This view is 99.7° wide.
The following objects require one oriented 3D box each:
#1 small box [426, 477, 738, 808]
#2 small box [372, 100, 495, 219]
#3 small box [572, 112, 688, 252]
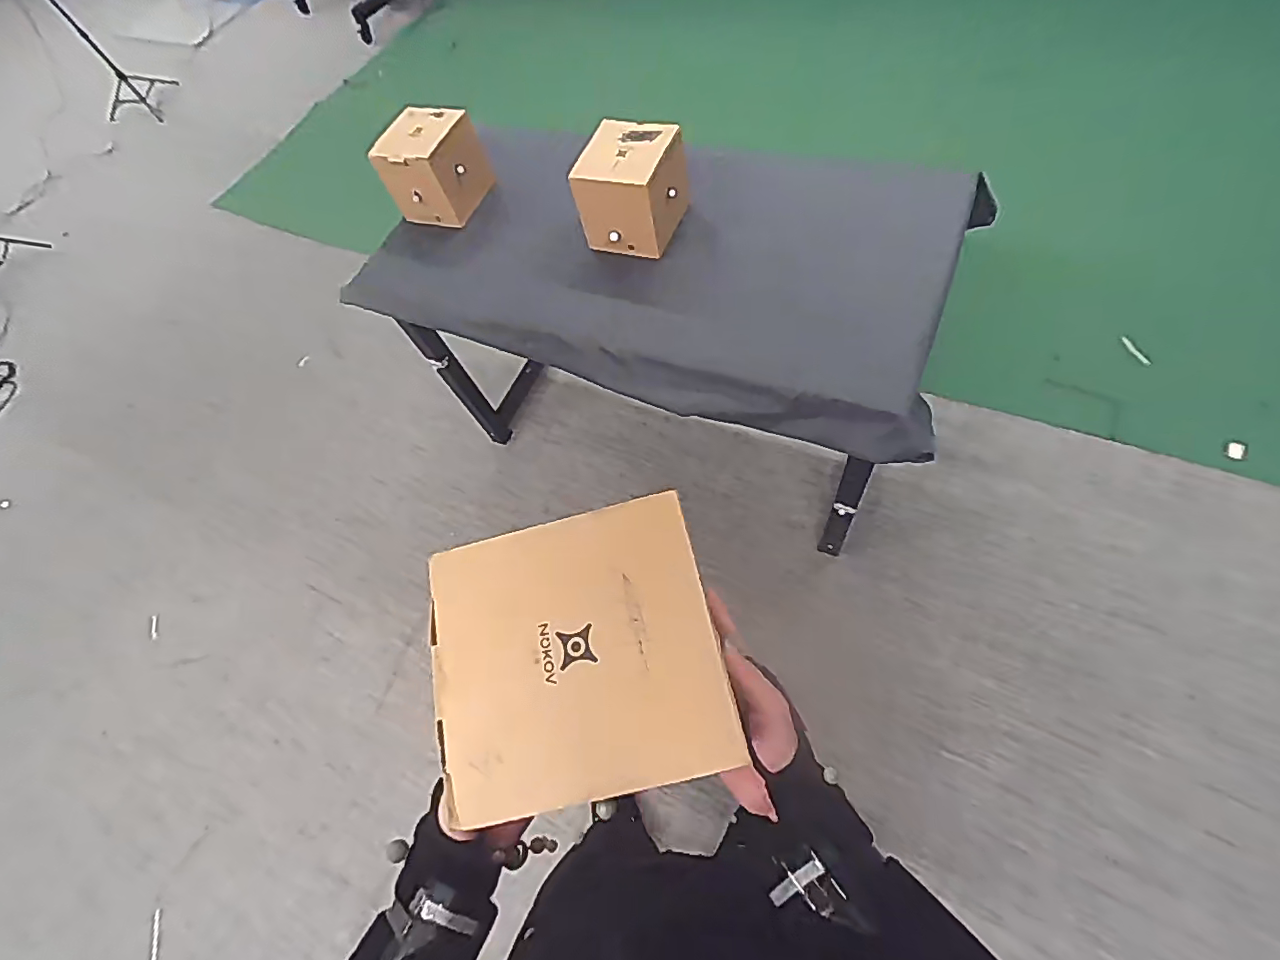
[{"bbox_3d":[-0.032,0.120,0.401,0.179,0.176,0.168,-15,68,3],"label":"small box"},{"bbox_3d":[-0.462,-0.732,1.243,0.168,0.176,0.179,15,68,18],"label":"small box"},{"bbox_3d":[-0.010,-0.593,1.081,0.168,0.176,0.179,17,69,19],"label":"small box"}]
